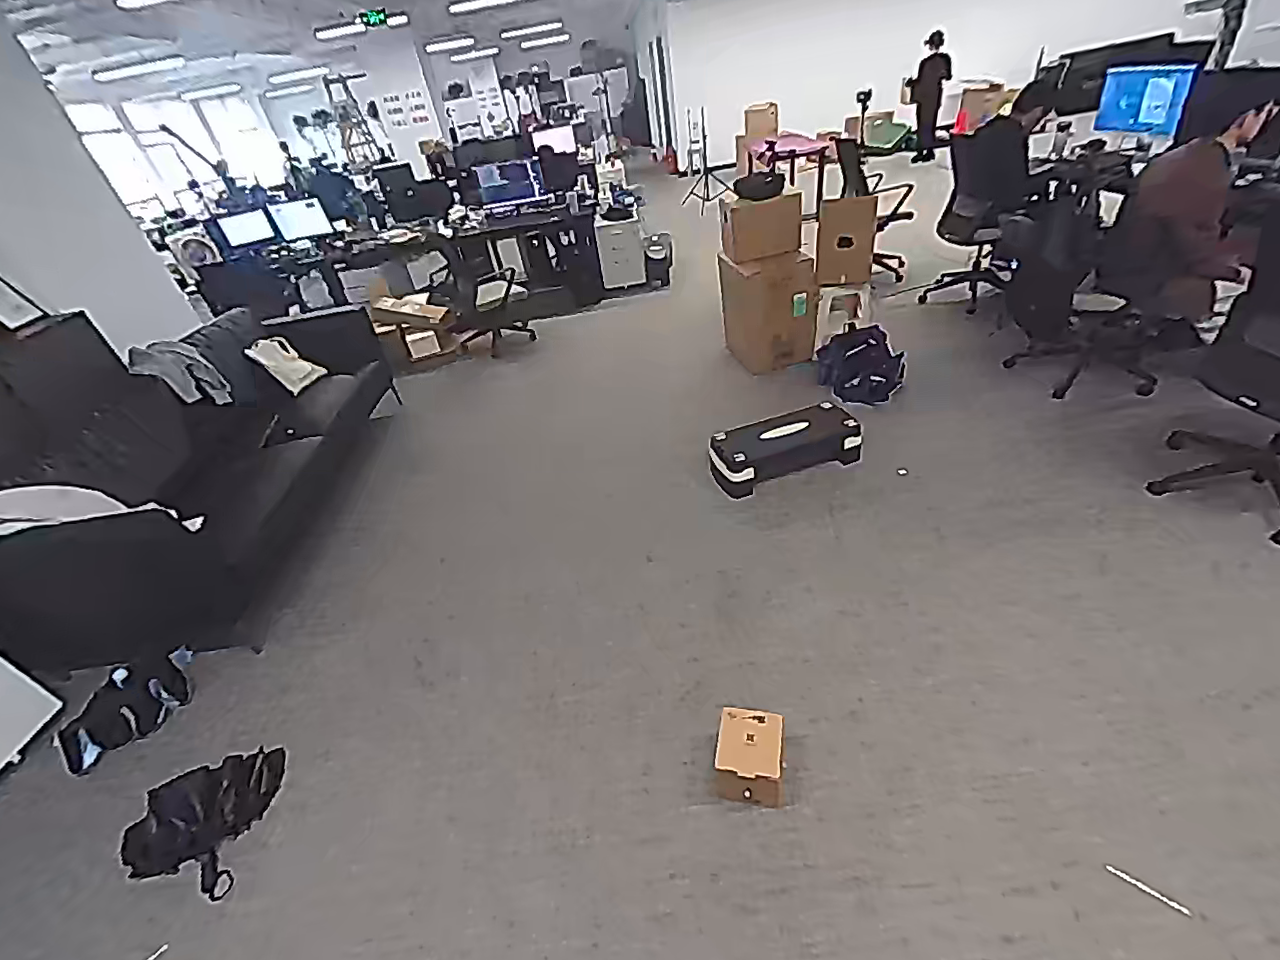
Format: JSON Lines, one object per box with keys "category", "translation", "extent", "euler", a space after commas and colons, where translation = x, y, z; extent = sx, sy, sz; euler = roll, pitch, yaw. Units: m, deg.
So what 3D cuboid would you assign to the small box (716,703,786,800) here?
{"category": "small box", "translation": [0.308, 0.740, 1.471], "extent": [0.168, 0.176, 0.179], "euler": [1, 39, 17]}
